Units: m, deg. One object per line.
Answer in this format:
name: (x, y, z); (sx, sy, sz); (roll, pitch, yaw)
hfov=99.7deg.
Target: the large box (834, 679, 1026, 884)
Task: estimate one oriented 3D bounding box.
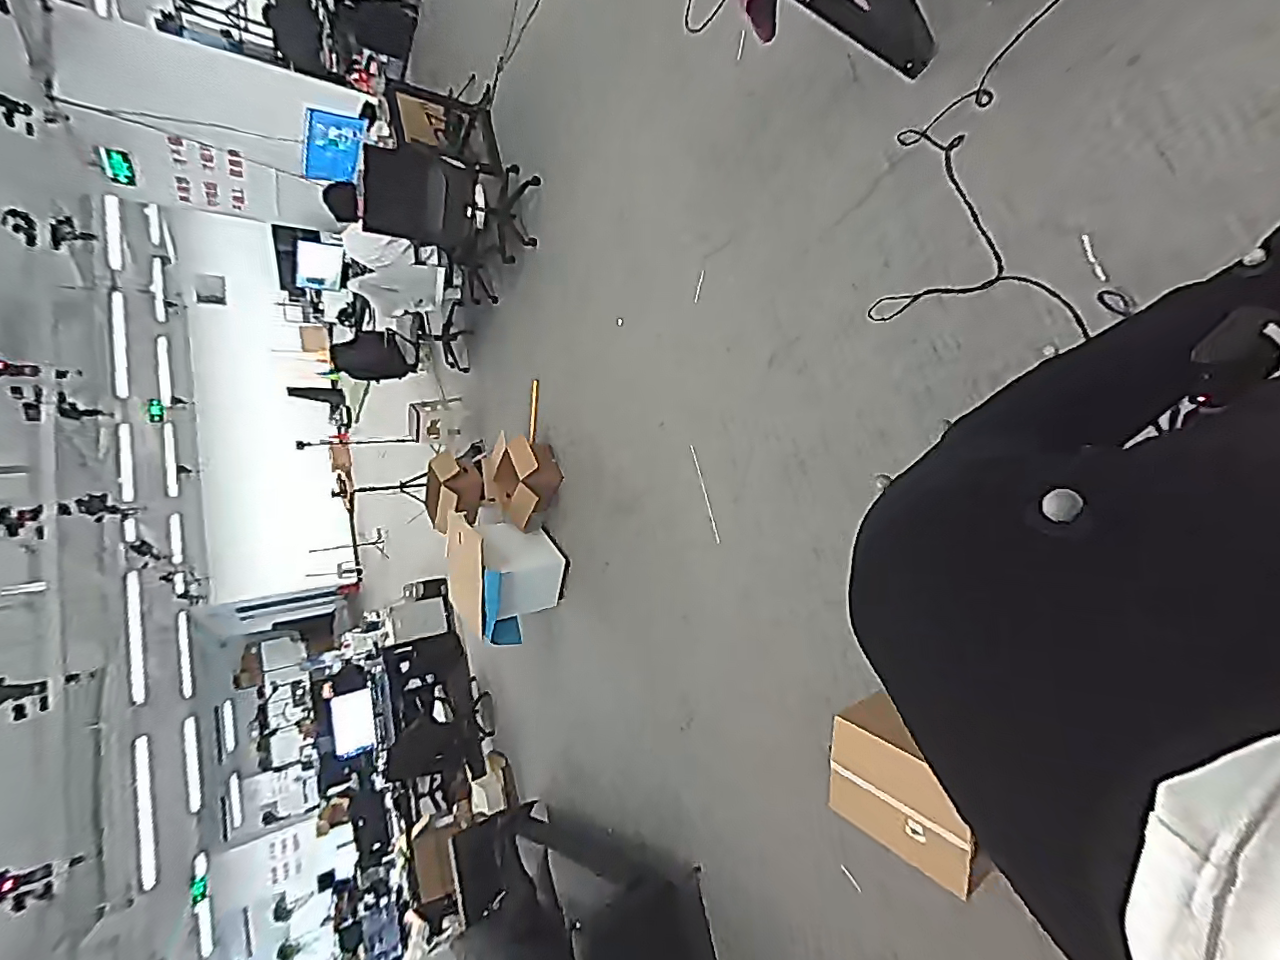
large box: (0.839, 0.845, 1.592); (0.408, 0.320, 0.320); (11, 105, 52)
